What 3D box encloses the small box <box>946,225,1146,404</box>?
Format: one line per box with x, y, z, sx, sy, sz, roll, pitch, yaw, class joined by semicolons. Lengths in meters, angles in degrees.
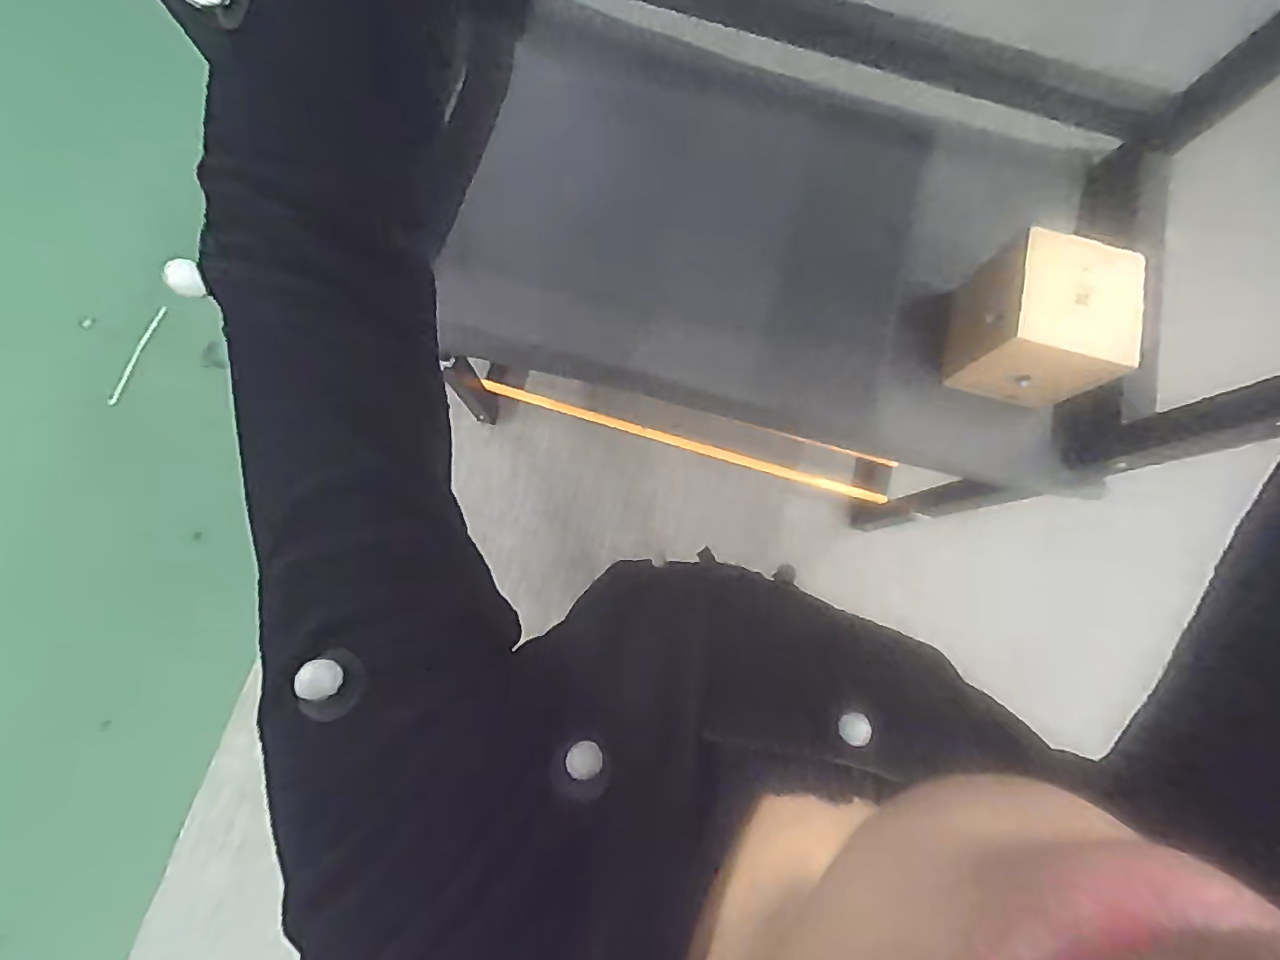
0.583;-0.230;0.797;0.168;0.176;0.179;14;77;0;small box
